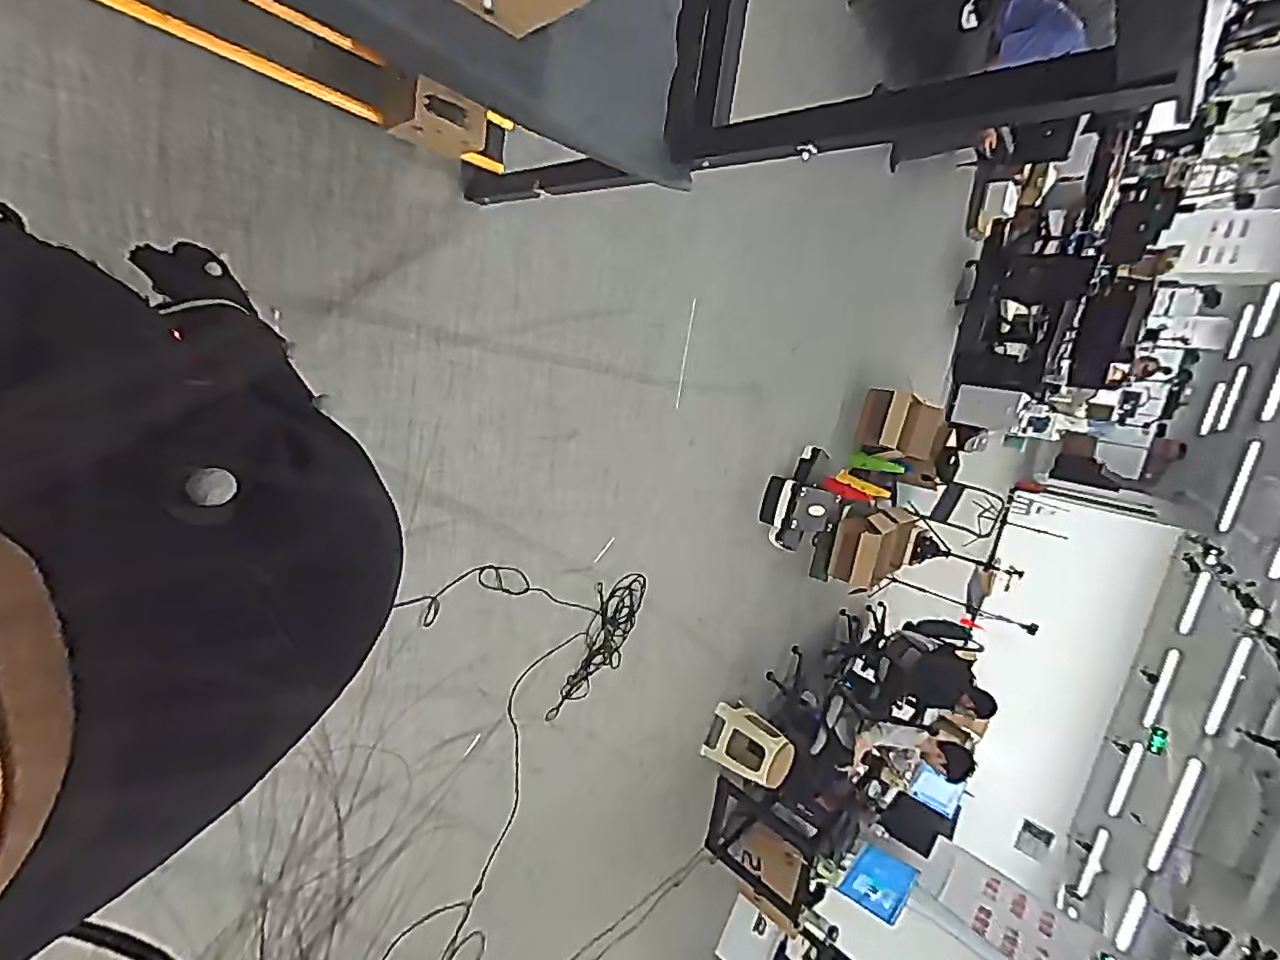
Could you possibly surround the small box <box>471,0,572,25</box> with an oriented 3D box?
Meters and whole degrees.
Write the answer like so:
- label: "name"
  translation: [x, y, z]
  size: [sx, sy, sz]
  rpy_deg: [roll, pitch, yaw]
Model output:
- label: "small box"
  translation: [-0.159, -0.697, 0.637]
  size: [0.168, 0.176, 0.179]
  rpy_deg: [-7, 109, -47]
